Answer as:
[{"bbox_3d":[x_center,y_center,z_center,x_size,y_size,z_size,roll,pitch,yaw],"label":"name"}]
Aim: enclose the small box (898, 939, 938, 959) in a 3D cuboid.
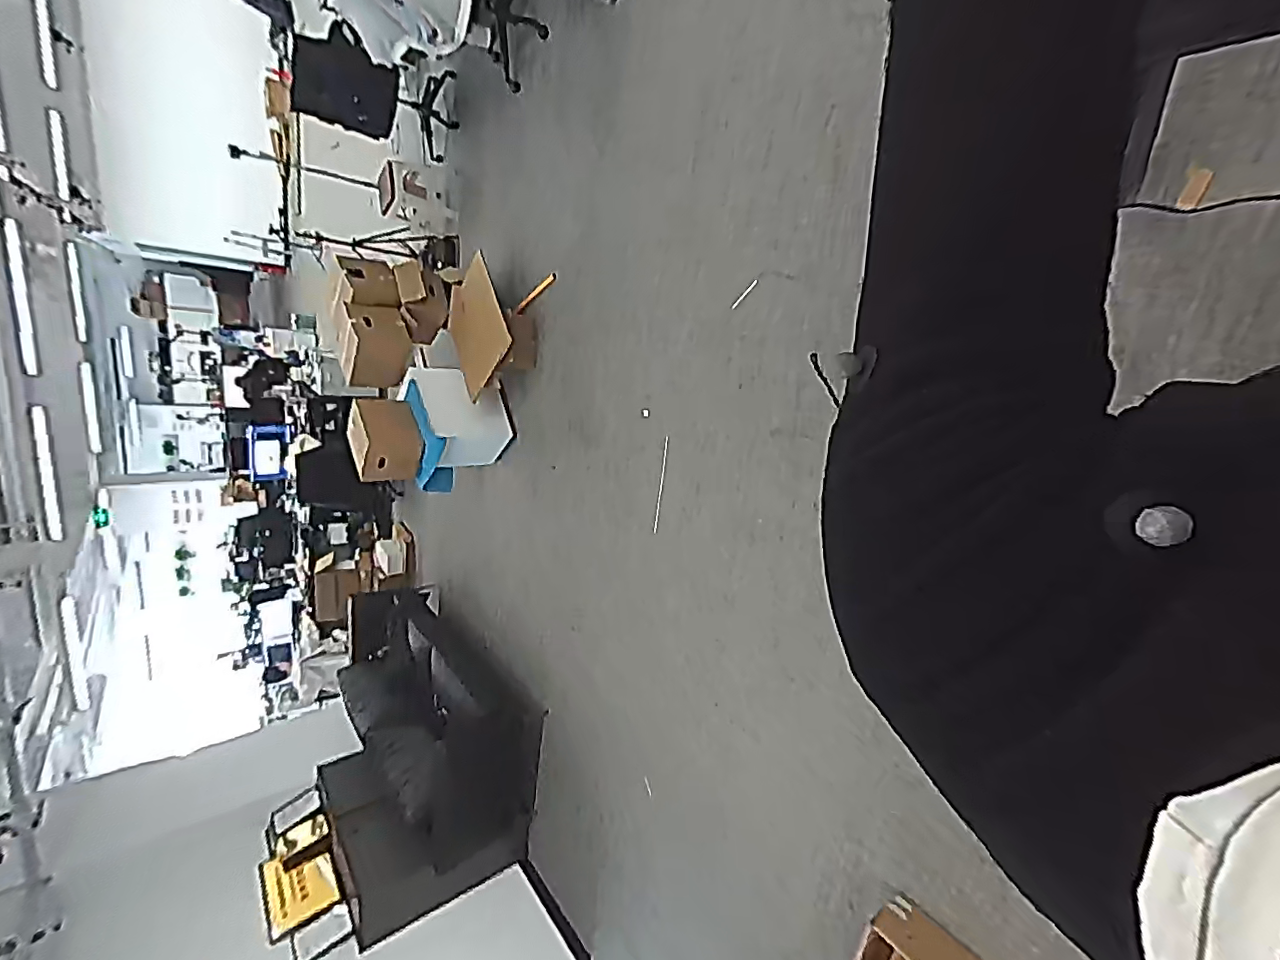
[{"bbox_3d":[0.844,1.549,1.620,0.168,0.176,0.179,24,112,46],"label":"small box"}]
